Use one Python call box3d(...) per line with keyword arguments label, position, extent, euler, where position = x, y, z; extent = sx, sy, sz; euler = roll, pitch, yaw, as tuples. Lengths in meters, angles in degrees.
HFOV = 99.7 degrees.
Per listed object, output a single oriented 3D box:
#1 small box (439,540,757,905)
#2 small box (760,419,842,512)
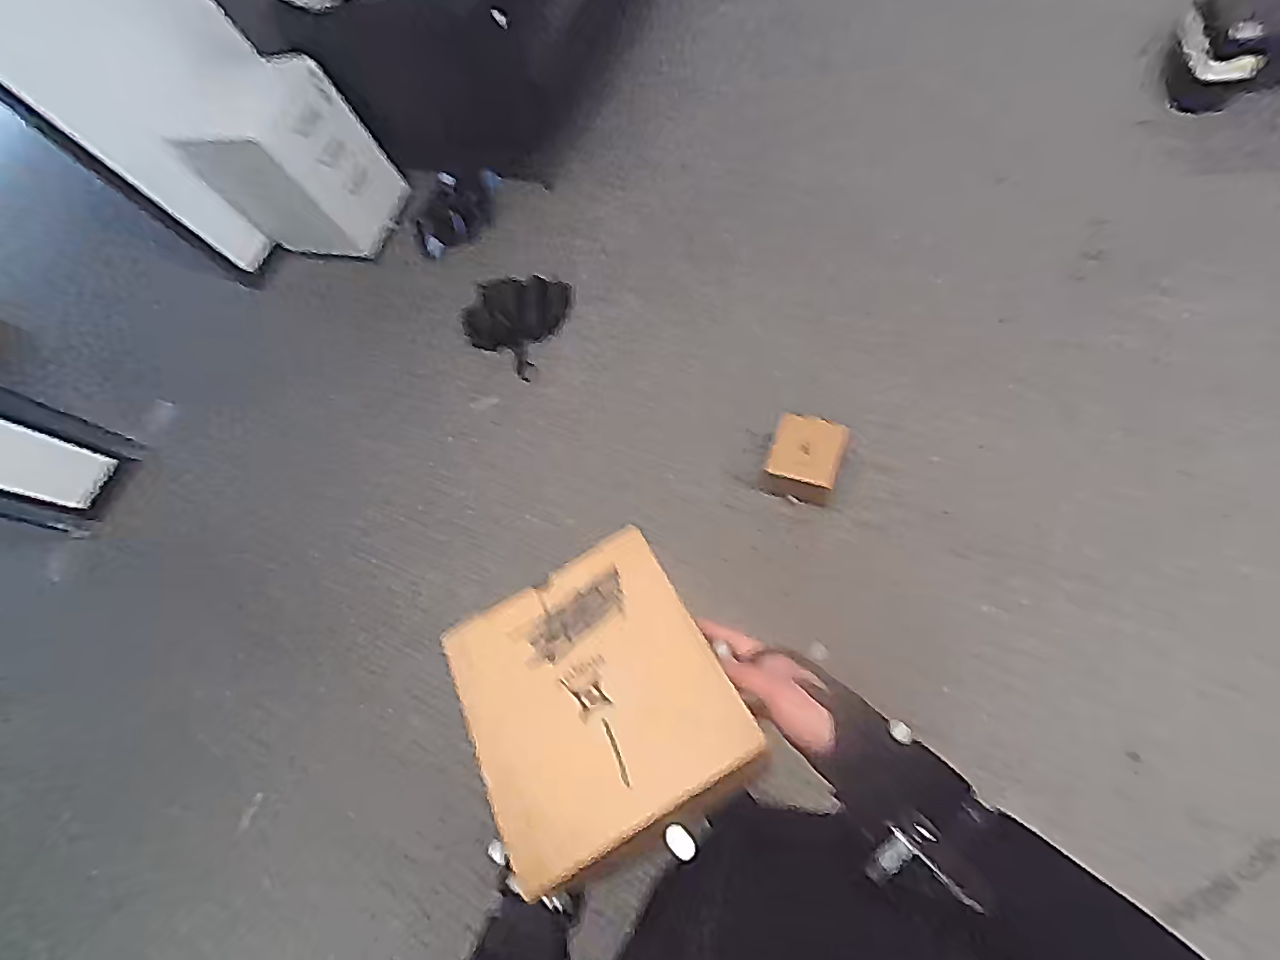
box3d(label="small box", position=(-0.025, 0.183, 0.421), extent=(0.168, 0.176, 0.179), euler=(-28, 57, -5))
box3d(label="small box", position=(0.430, -0.037, 1.451), extent=(0.168, 0.176, 0.179), euler=(16, 74, 22))
